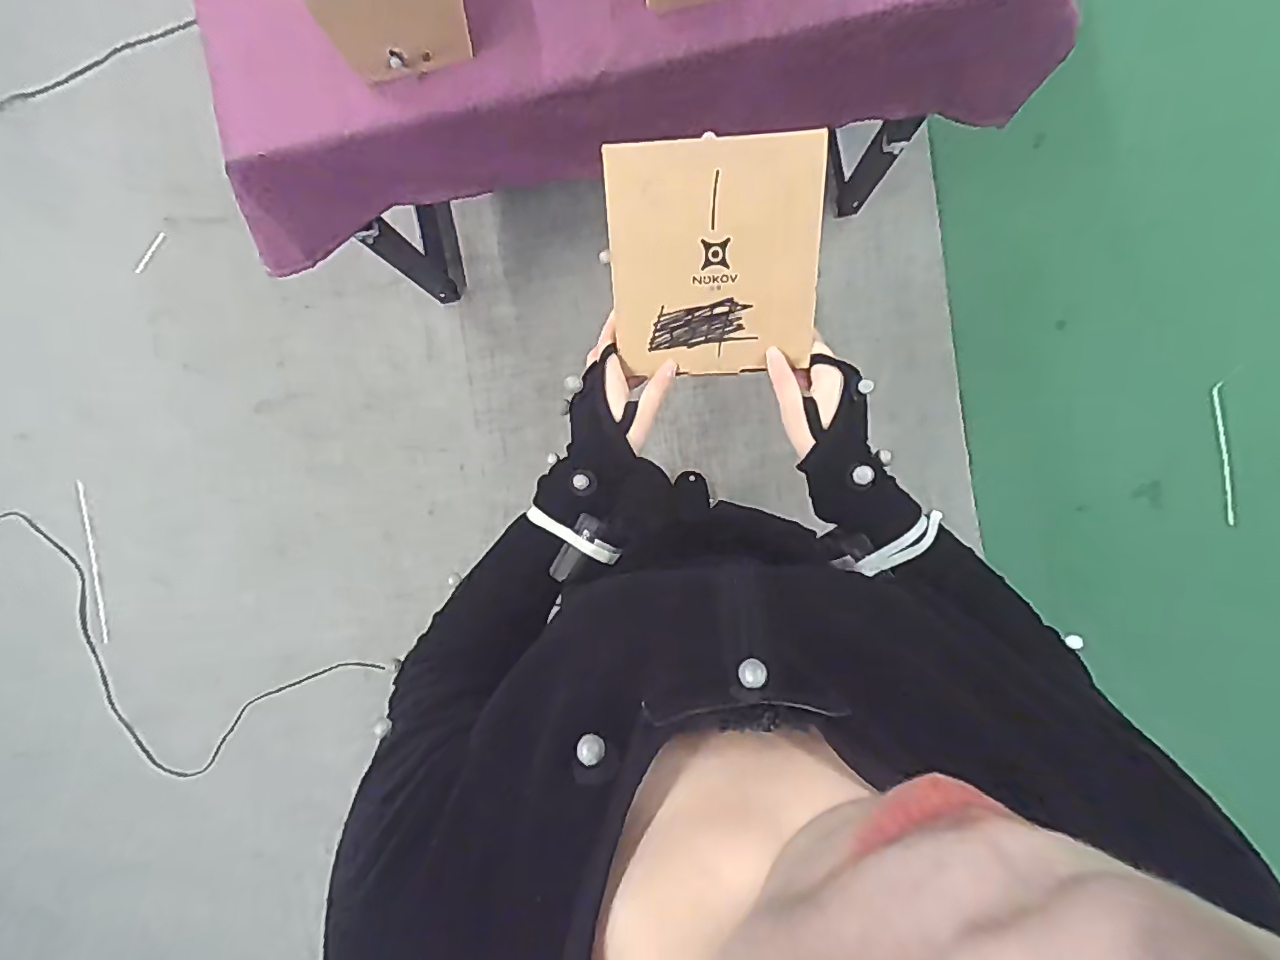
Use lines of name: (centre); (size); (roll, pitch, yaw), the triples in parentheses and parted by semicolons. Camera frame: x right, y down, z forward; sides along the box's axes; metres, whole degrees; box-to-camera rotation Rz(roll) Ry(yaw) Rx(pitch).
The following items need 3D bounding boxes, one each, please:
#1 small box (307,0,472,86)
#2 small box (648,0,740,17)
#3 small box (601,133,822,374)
small box: (-0.337, -0.670, 0.705); (0.168, 0.176, 0.179); (-10, 91, 3)
small box: (0.074, -0.752, 0.683); (0.168, 0.176, 0.179); (-11, 90, 4)
small box: (0.059, -0.207, 0.504); (0.168, 0.176, 0.179); (-2, 115, 3)
